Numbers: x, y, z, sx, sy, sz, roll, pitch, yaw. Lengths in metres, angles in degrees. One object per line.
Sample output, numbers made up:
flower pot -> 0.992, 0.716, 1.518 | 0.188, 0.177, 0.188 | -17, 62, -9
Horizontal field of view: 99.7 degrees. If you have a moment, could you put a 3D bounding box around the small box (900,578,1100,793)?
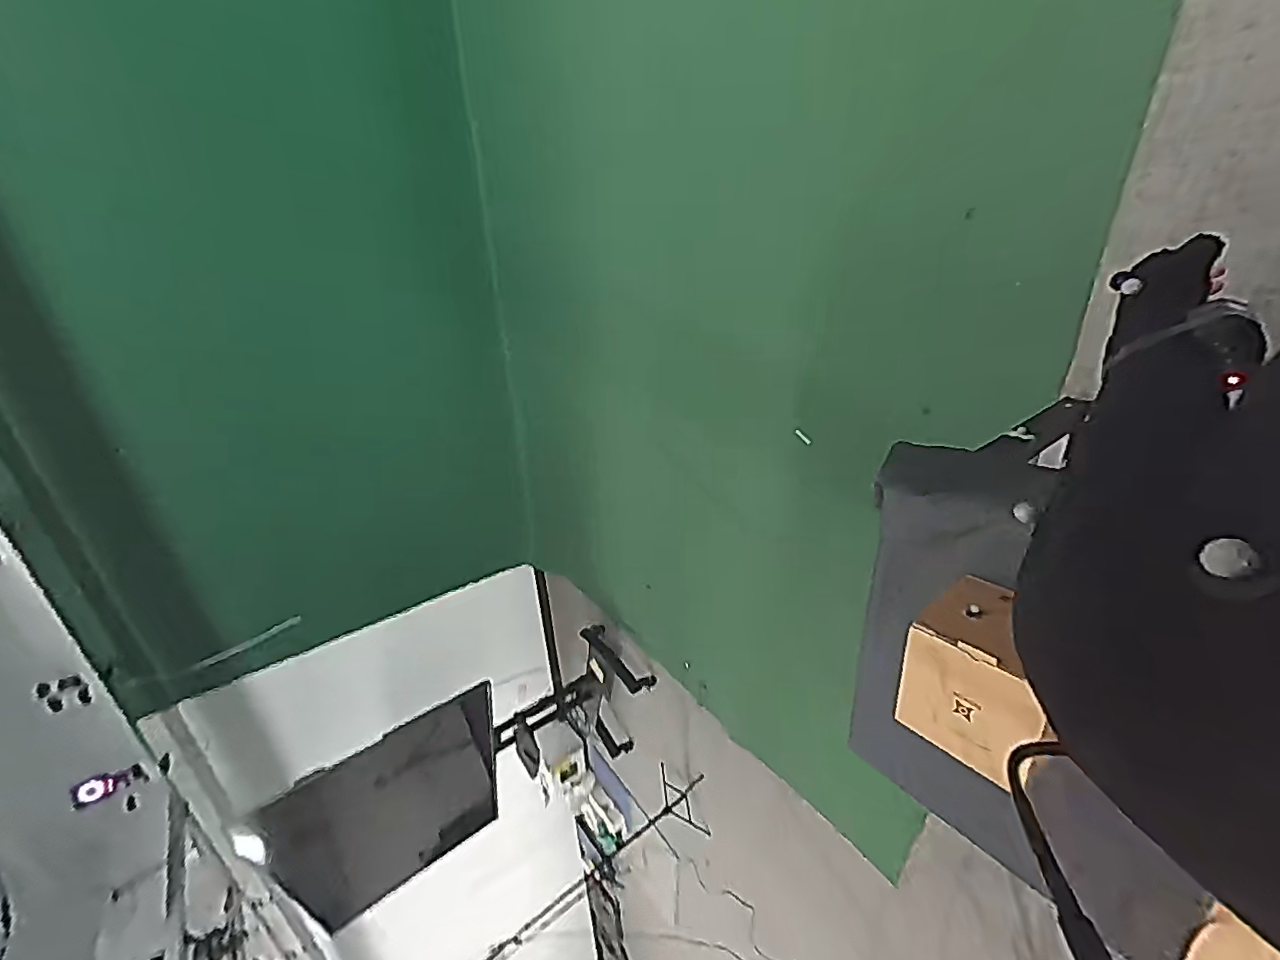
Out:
small box -> 0.482, 0.261, 0.730 | 0.168, 0.176, 0.179 | 25, 129, 49

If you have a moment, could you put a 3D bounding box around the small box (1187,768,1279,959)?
small box -> 0.682, 0.428, 0.521 | 0.168, 0.176, 0.179 | 22, 127, 50
